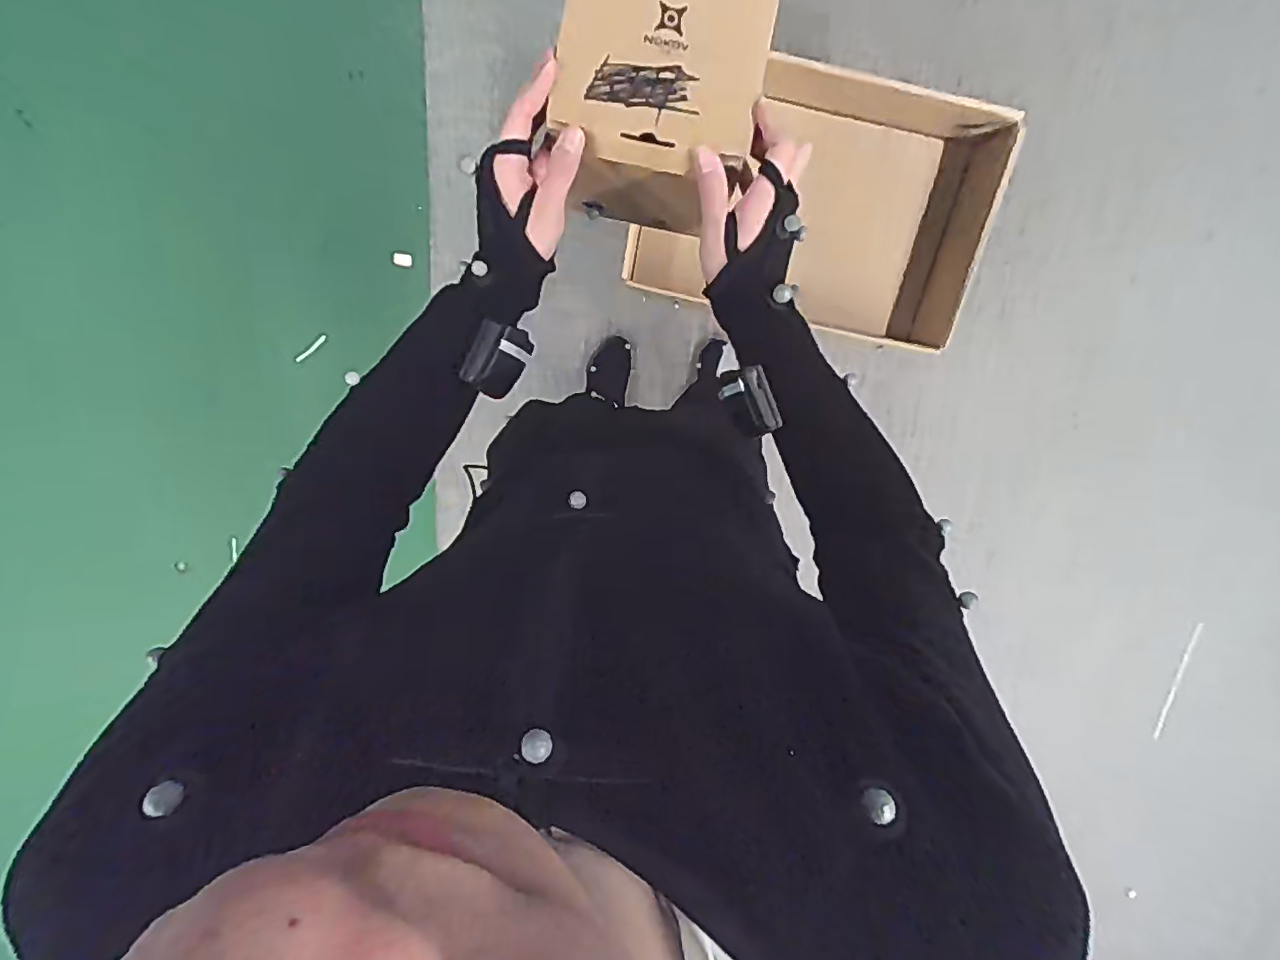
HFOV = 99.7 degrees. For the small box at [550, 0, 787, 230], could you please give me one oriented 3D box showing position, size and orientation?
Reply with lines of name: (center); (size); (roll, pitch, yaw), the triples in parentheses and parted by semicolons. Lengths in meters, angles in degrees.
small box: (0.024, -0.353, 0.491); (0.168, 0.176, 0.179); (11, 95, -3)
